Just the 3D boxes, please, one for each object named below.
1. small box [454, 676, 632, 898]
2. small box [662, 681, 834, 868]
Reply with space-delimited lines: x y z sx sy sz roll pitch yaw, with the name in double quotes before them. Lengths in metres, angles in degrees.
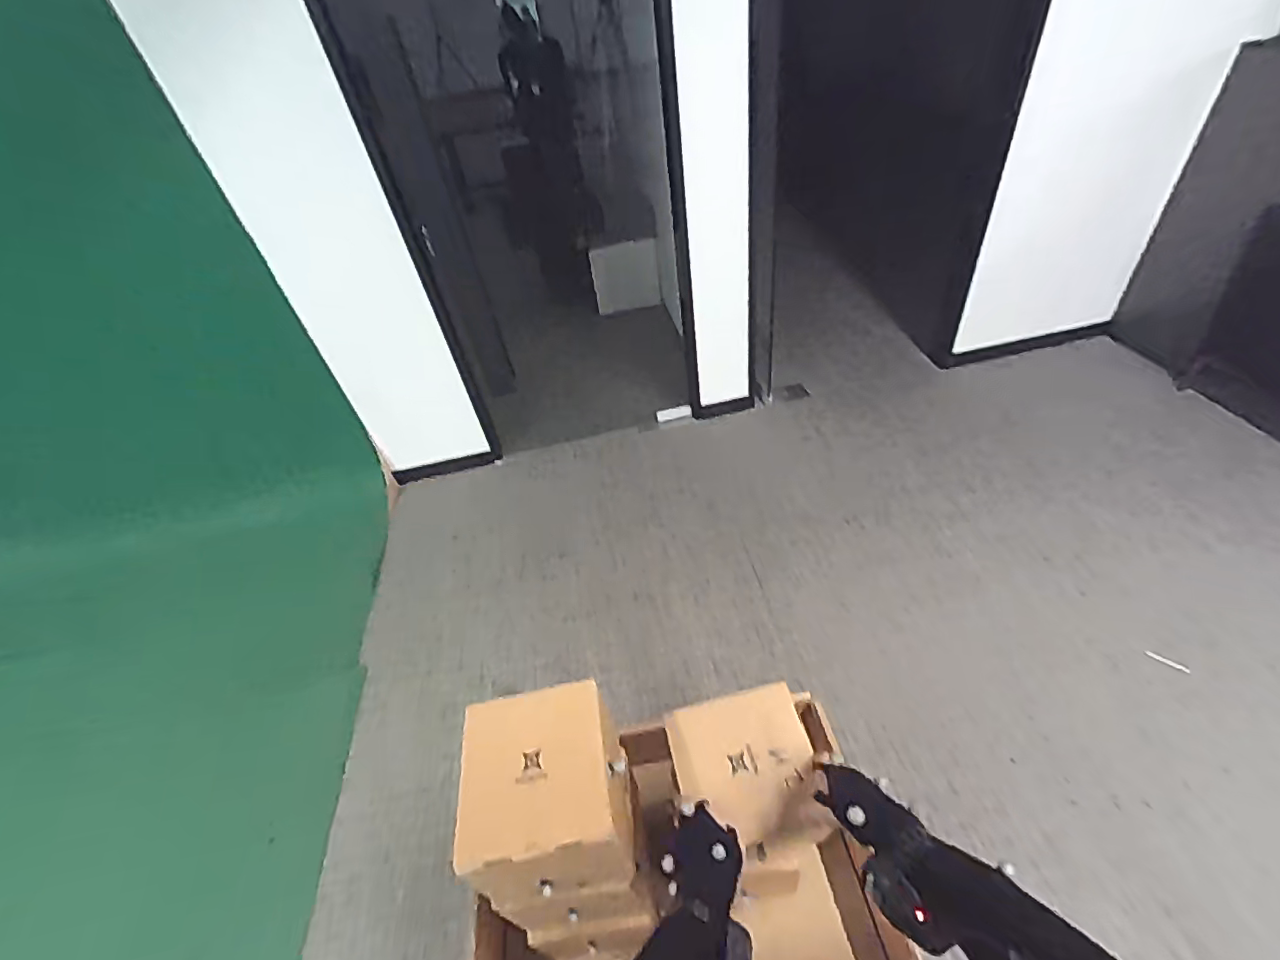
"small box" -0.110 0.374 0.661 0.168 0.176 0.179 -12 42 -2
"small box" 0.140 0.401 0.731 0.179 0.176 0.168 -14 48 -2
